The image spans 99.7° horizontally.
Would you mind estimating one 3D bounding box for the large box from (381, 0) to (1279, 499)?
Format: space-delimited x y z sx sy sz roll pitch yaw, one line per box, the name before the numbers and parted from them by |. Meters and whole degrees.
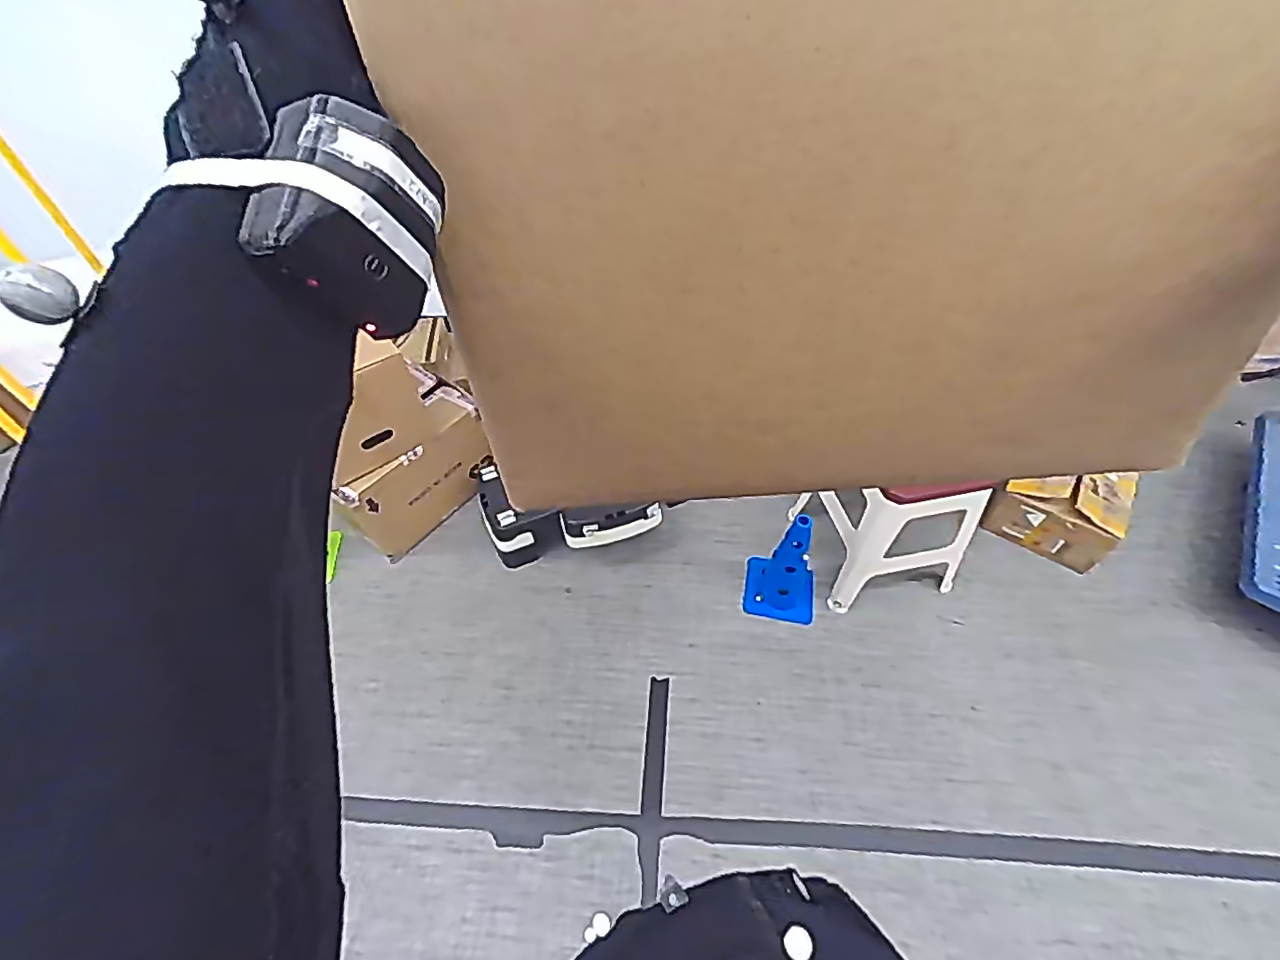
large box | 0.103 -0.208 0.368 0.408 0.320 0.320 -4 39 3
